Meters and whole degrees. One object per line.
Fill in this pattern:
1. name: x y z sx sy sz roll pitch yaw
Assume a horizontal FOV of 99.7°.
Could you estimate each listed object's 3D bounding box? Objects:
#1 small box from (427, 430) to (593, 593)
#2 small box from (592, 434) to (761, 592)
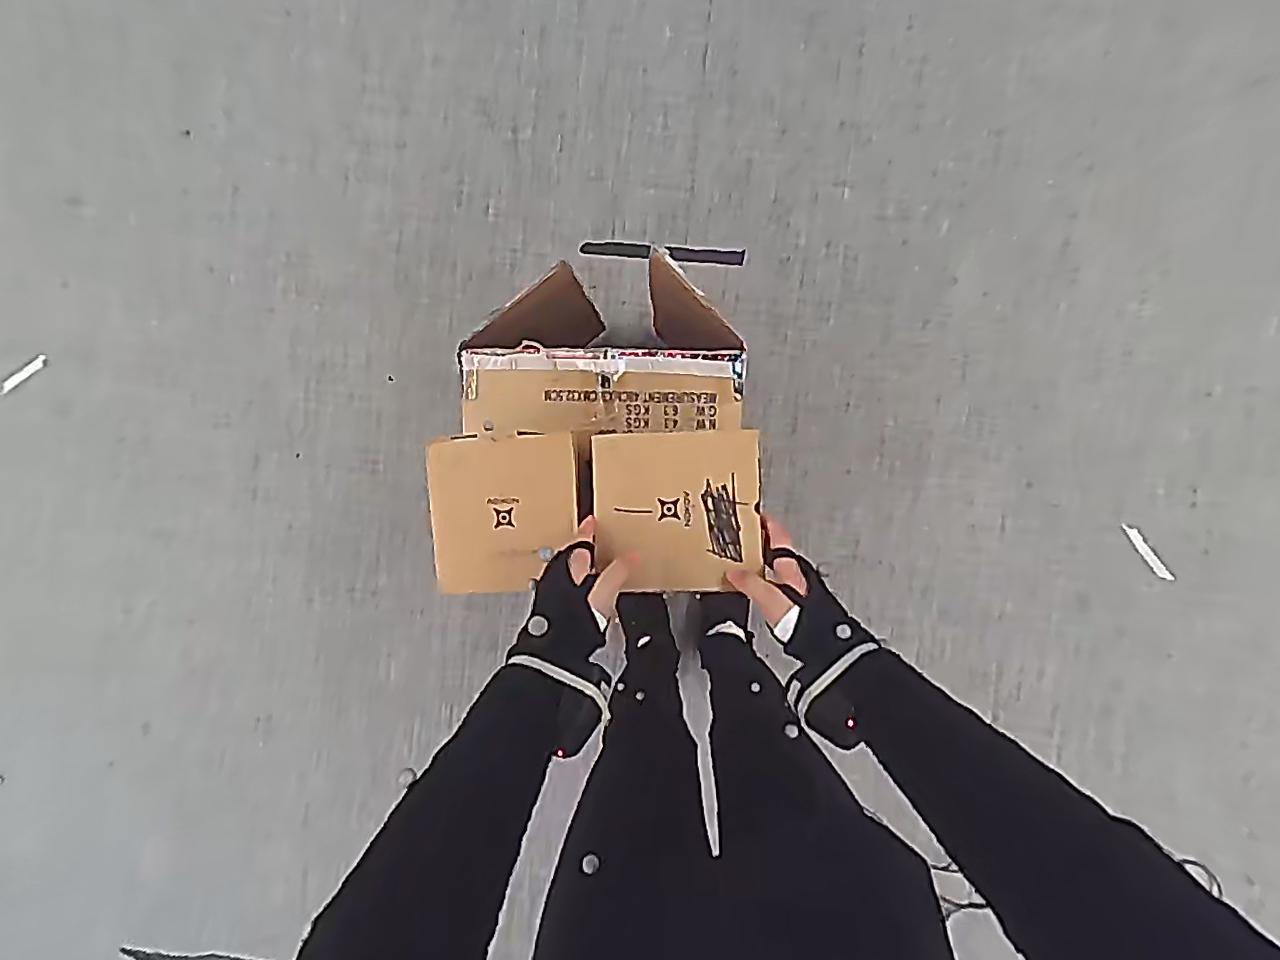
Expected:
1. small box: -0.142 0.028 0.670 0.168 0.176 0.179 -3 97 6
2. small box: 0.041 0.038 0.639 0.179 0.176 0.168 -1 86 4
